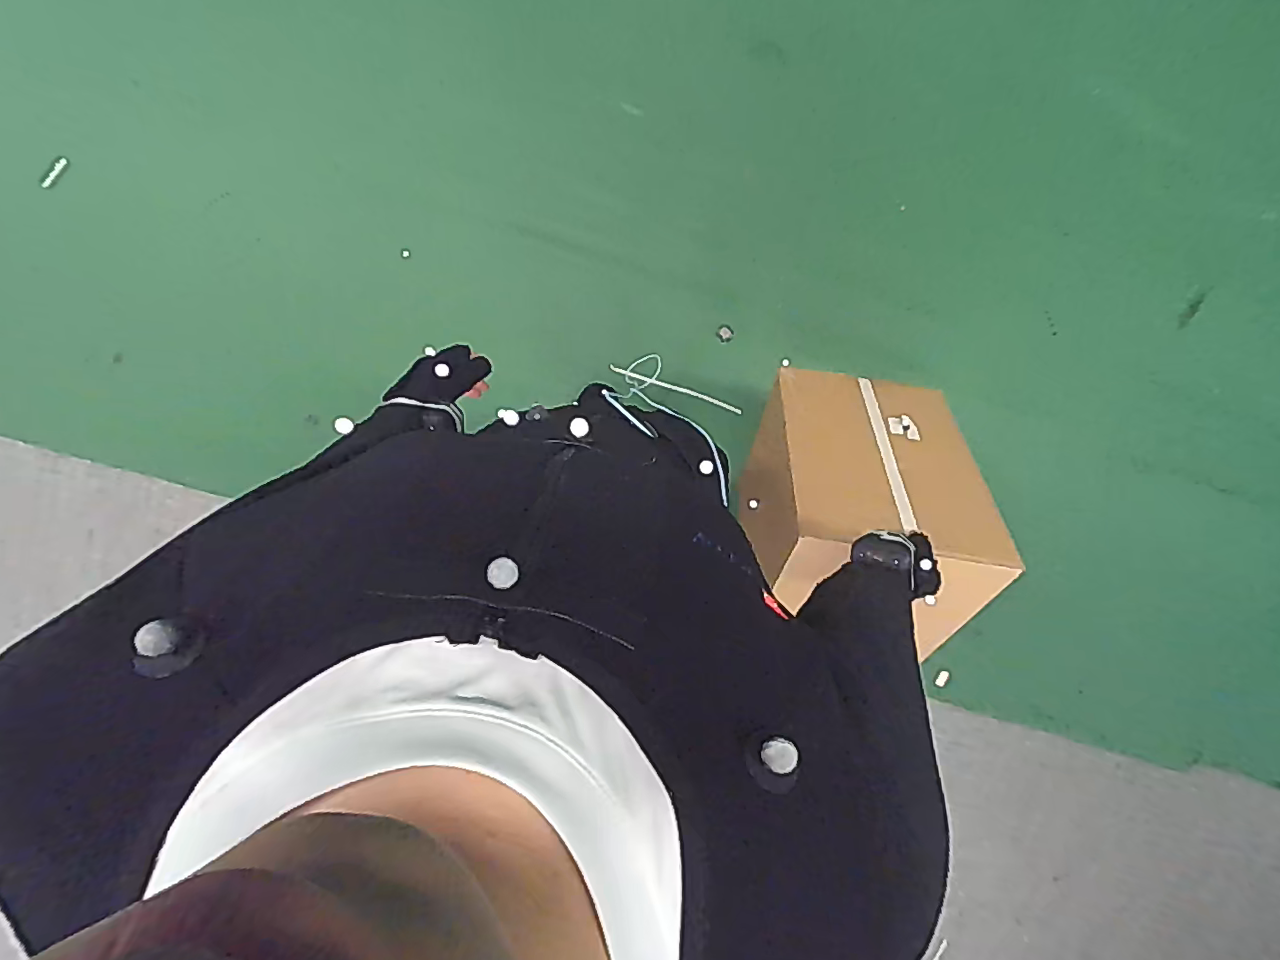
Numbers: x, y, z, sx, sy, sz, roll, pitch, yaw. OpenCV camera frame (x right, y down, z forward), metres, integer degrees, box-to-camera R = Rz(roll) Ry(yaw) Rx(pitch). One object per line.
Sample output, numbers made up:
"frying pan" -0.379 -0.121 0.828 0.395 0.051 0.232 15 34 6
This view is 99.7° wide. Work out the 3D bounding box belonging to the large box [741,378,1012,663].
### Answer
"large box" 0.375 0.070 0.995 0.320 0.408 0.320 9 135 -1
